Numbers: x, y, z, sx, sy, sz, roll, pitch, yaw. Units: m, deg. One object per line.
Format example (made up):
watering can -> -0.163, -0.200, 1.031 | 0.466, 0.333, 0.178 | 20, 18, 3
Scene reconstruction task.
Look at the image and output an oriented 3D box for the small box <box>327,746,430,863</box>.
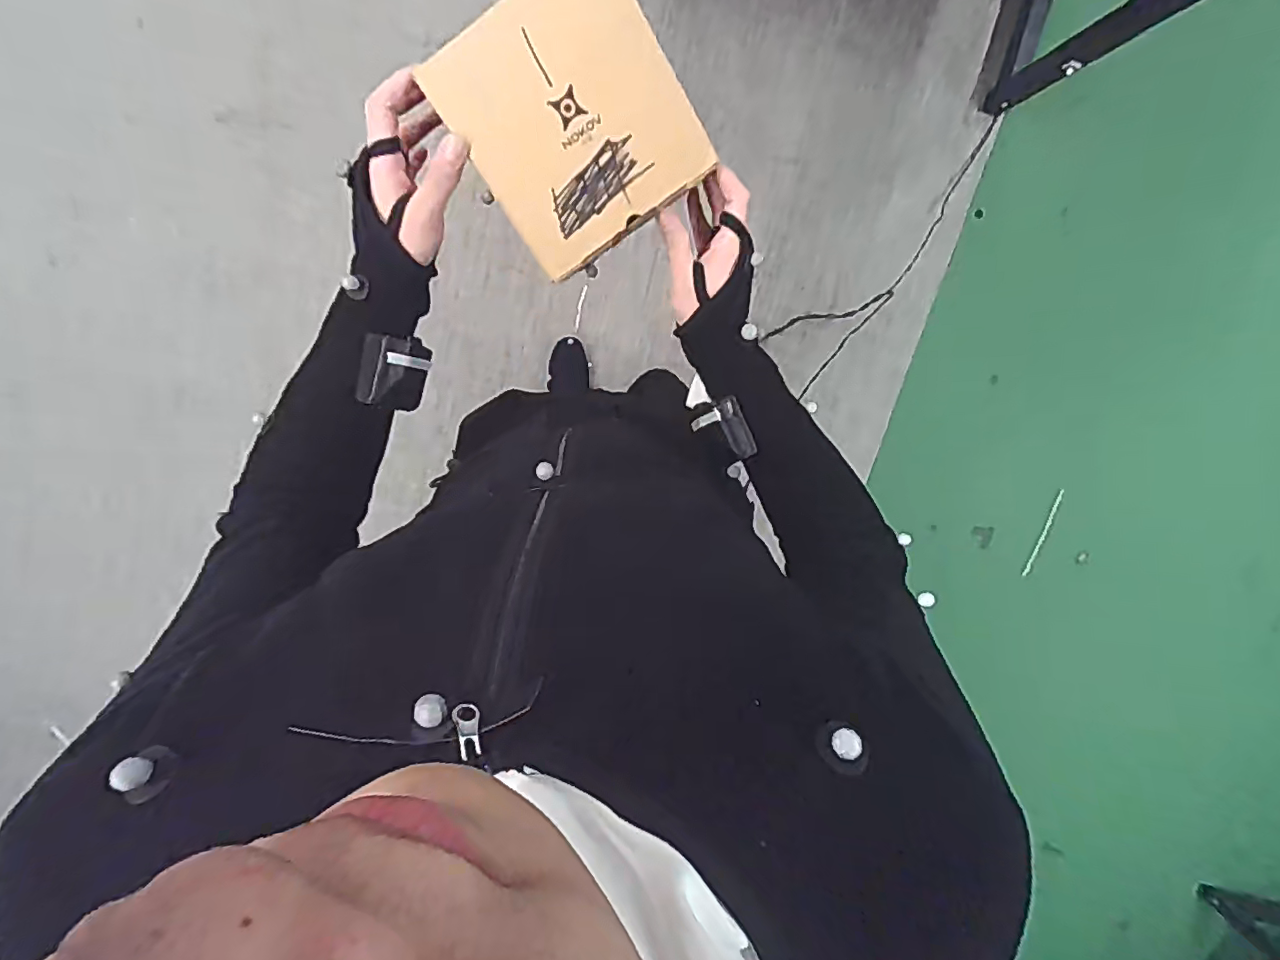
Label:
small box -> -0.664, 0.829, 1.396 | 0.168, 0.176, 0.179 | 23, 100, -9
